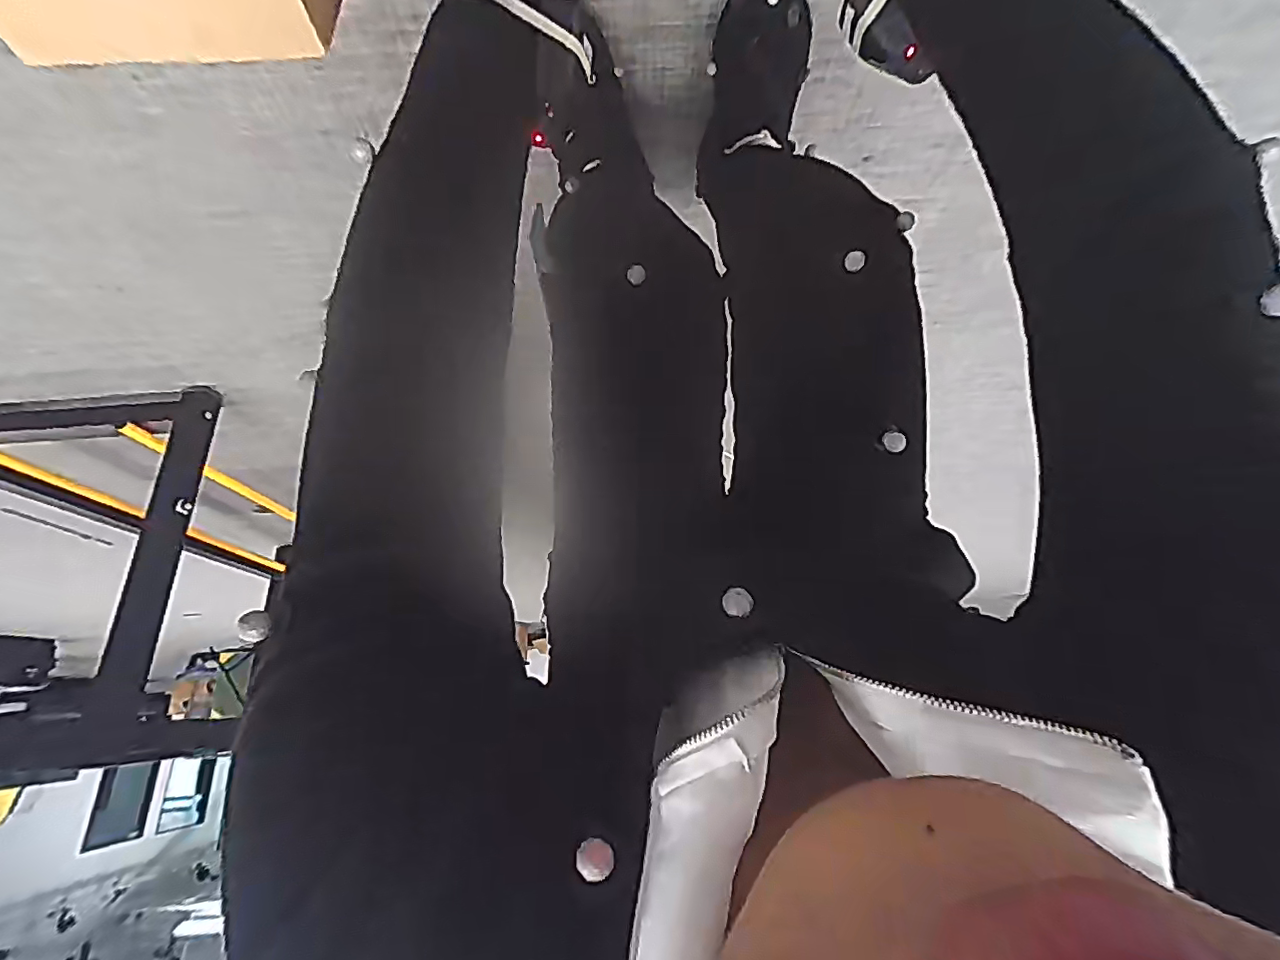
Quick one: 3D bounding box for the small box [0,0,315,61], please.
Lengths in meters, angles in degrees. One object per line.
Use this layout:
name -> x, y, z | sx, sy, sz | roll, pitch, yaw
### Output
small box -> -0.275, -0.350, 0.269 | 0.179, 0.176, 0.168 | -4, 157, -4
